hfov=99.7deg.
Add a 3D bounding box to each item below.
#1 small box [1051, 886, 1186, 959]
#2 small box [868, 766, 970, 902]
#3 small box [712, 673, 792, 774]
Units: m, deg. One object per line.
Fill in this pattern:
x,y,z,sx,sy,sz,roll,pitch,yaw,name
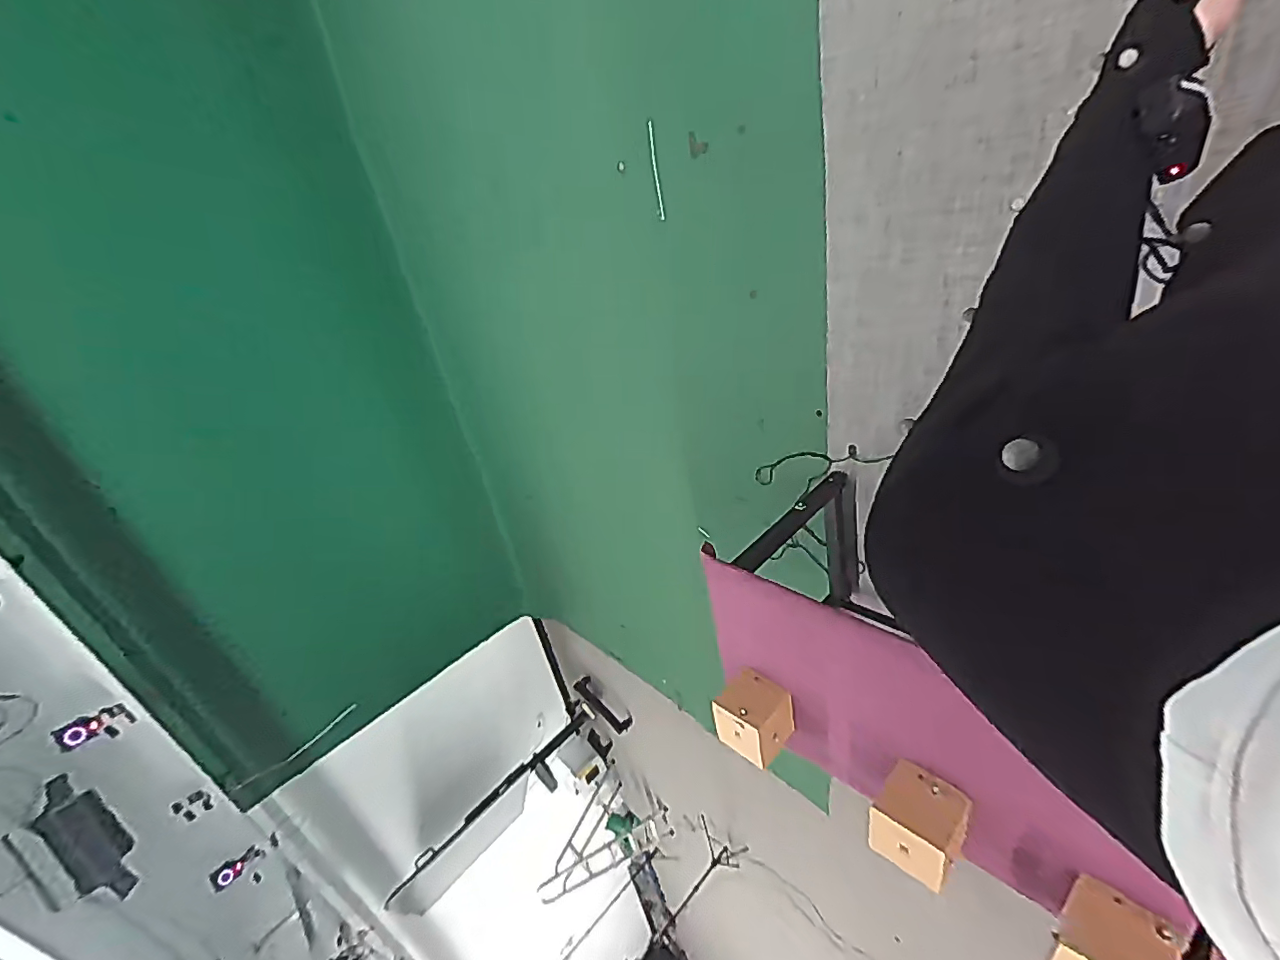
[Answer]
0.919,0.952,1.051,0.168,0.176,0.179,21,131,43,small box
0.666,0.836,1.291,0.168,0.176,0.179,18,129,43,small box
0.339,0.719,1.611,0.168,0.176,0.179,17,129,44,small box
